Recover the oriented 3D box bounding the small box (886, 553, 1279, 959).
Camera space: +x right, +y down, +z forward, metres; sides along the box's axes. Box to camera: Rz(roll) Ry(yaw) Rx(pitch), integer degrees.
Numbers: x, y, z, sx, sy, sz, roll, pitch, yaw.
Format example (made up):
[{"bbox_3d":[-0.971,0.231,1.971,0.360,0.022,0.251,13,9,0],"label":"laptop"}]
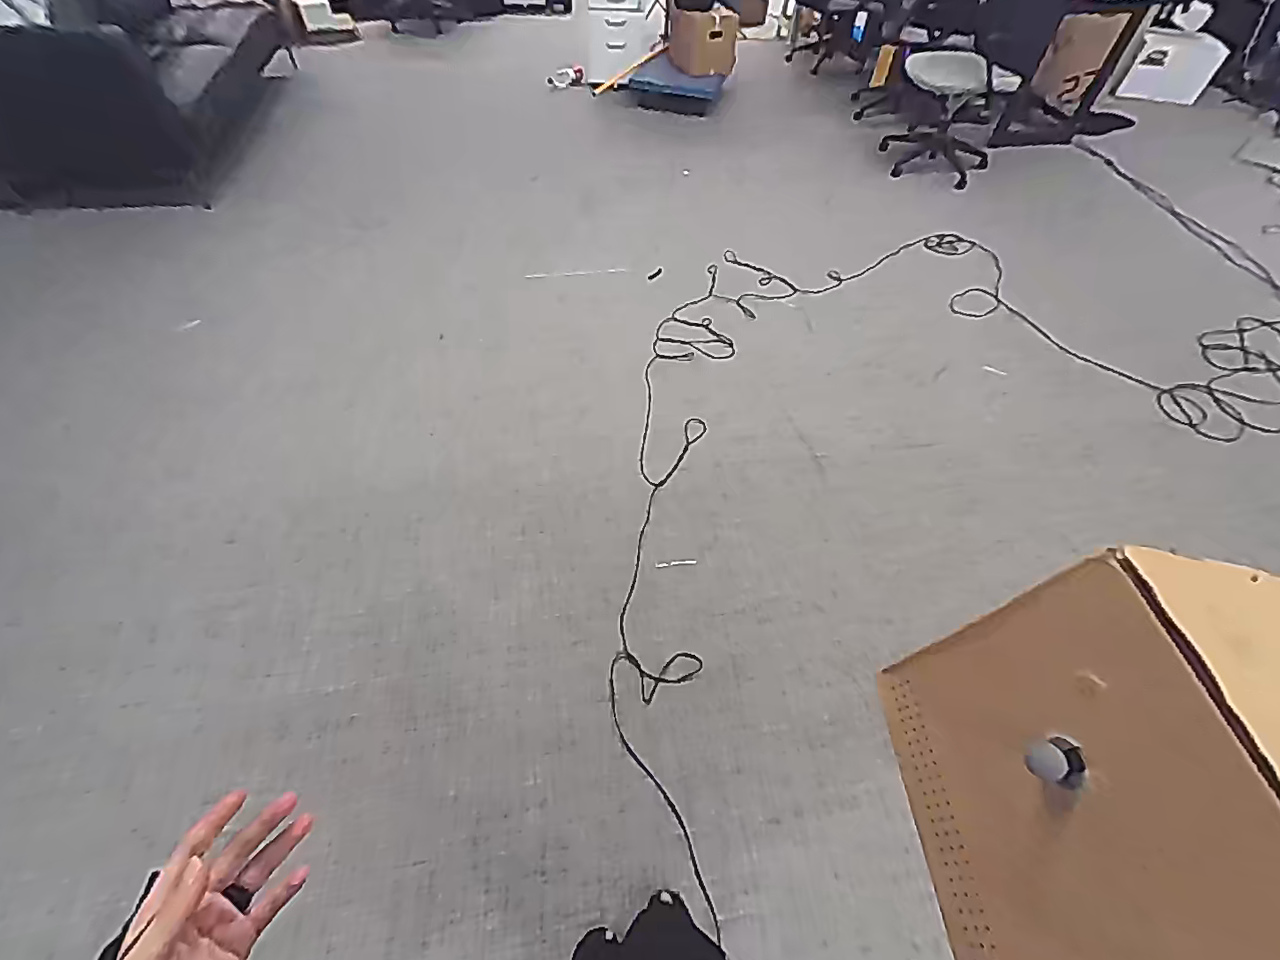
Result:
[{"bbox_3d":[0.258,0.161,0.266,0.168,0.176,0.179,9,49,-14],"label":"small box"}]
